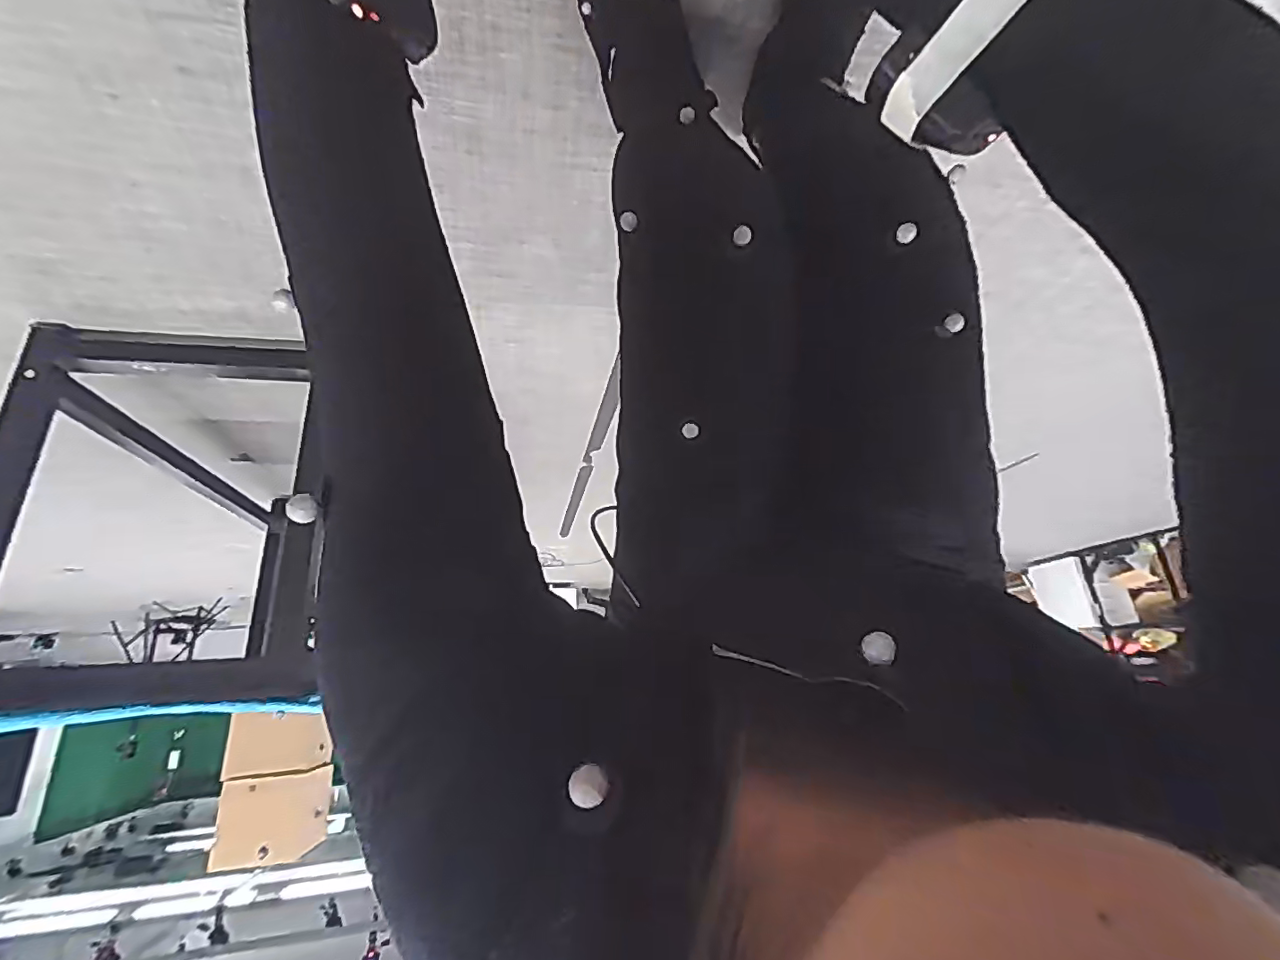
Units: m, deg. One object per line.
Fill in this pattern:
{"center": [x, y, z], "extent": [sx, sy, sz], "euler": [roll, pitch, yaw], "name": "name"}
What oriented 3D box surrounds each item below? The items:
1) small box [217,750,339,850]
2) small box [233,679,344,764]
{"center": [-0.816, 0.723, 1.242], "extent": [0.168, 0.176, 0.179], "euler": [-1, 160, -7], "name": "small box"}
{"center": [-0.833, 0.573, 1.301], "extent": [0.168, 0.176, 0.179], "euler": [0, 160, -11], "name": "small box"}
